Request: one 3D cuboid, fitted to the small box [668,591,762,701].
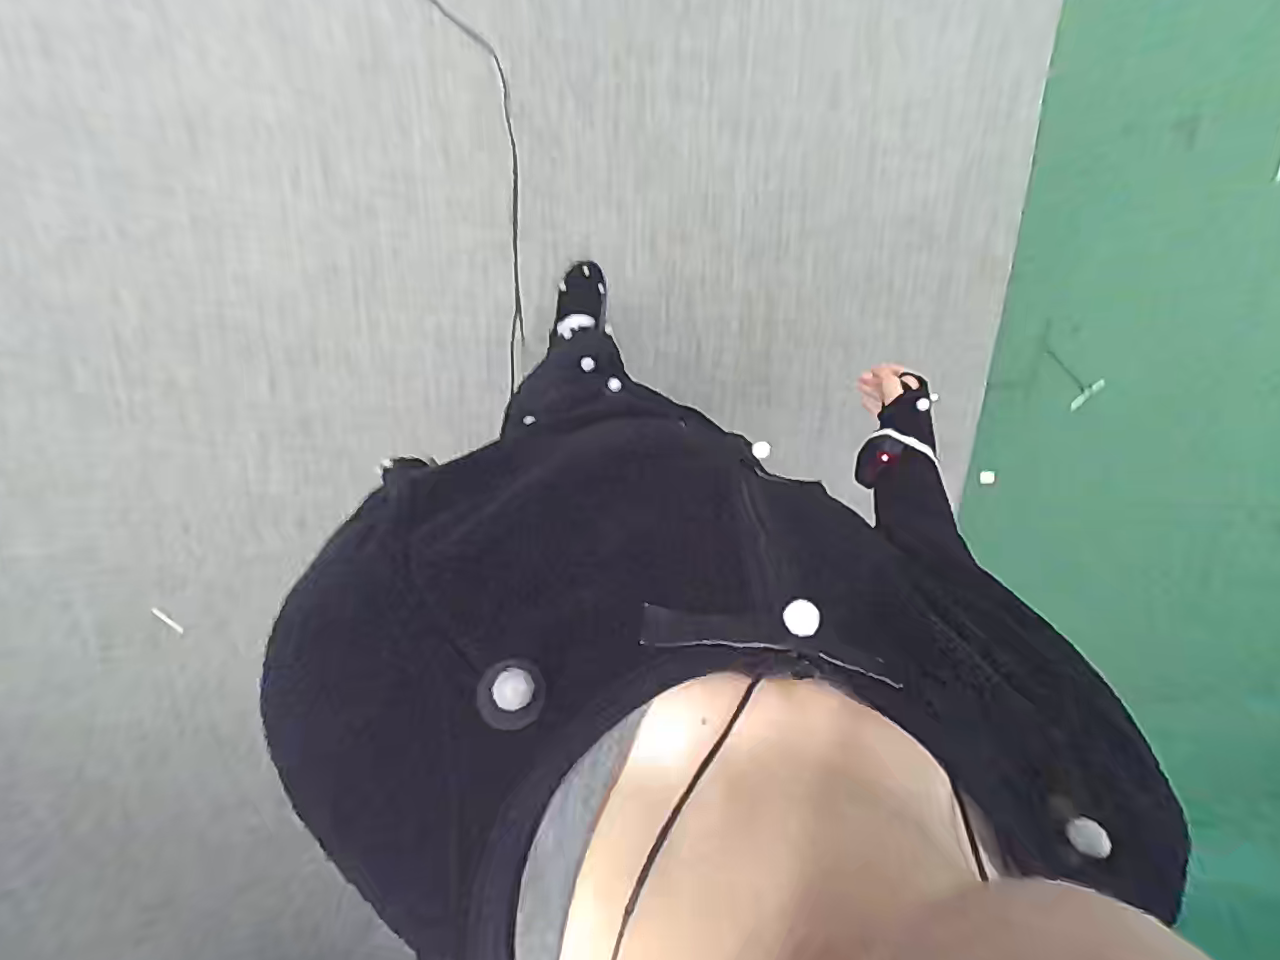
[{"bbox_3d":[0.159,0.365,1.209,0.179,0.176,0.168,-4,107,-8],"label":"small box"}]
